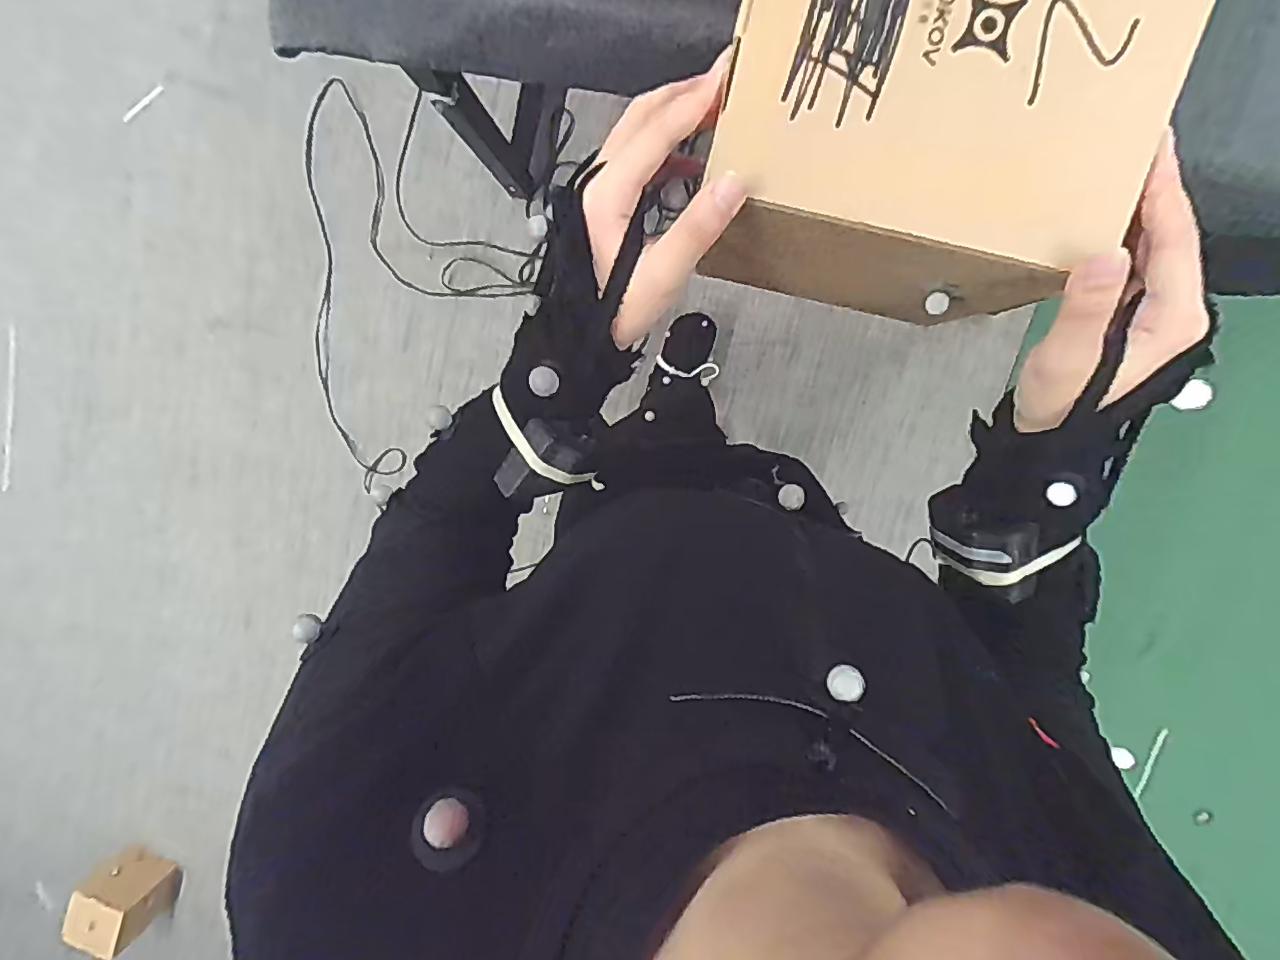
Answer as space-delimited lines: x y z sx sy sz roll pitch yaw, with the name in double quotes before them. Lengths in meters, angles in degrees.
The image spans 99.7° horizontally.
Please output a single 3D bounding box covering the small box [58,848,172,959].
"small box" -1.539 1.242 1.595 0.168 0.176 0.179 21 100 3
